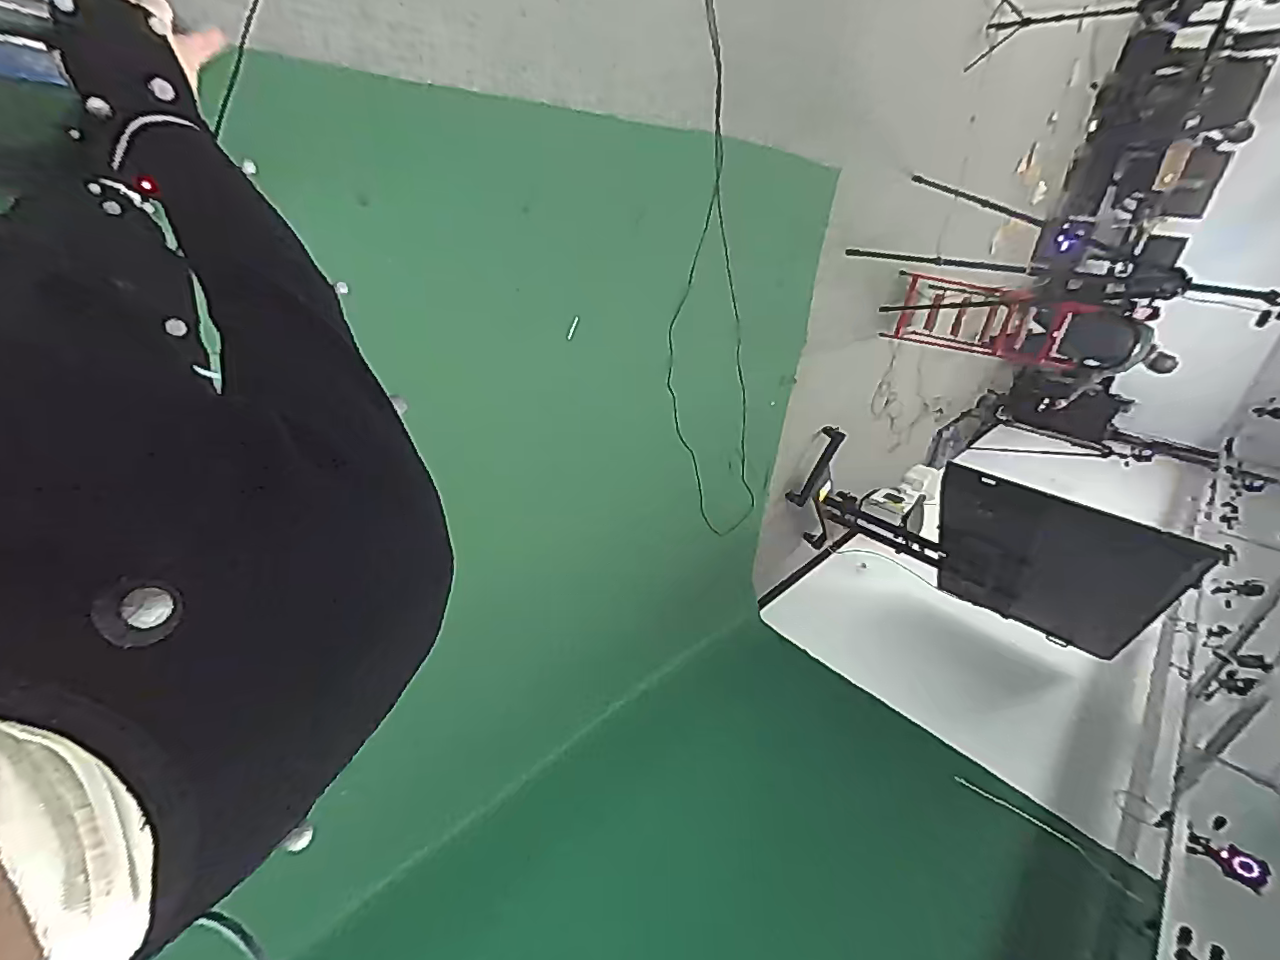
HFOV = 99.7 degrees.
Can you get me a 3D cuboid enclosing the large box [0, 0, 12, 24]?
[{"bbox_3d":[-0.957,-0.790,0.563,0.320,0.320,0.408,-18,124,-43],"label":"large box"}]
